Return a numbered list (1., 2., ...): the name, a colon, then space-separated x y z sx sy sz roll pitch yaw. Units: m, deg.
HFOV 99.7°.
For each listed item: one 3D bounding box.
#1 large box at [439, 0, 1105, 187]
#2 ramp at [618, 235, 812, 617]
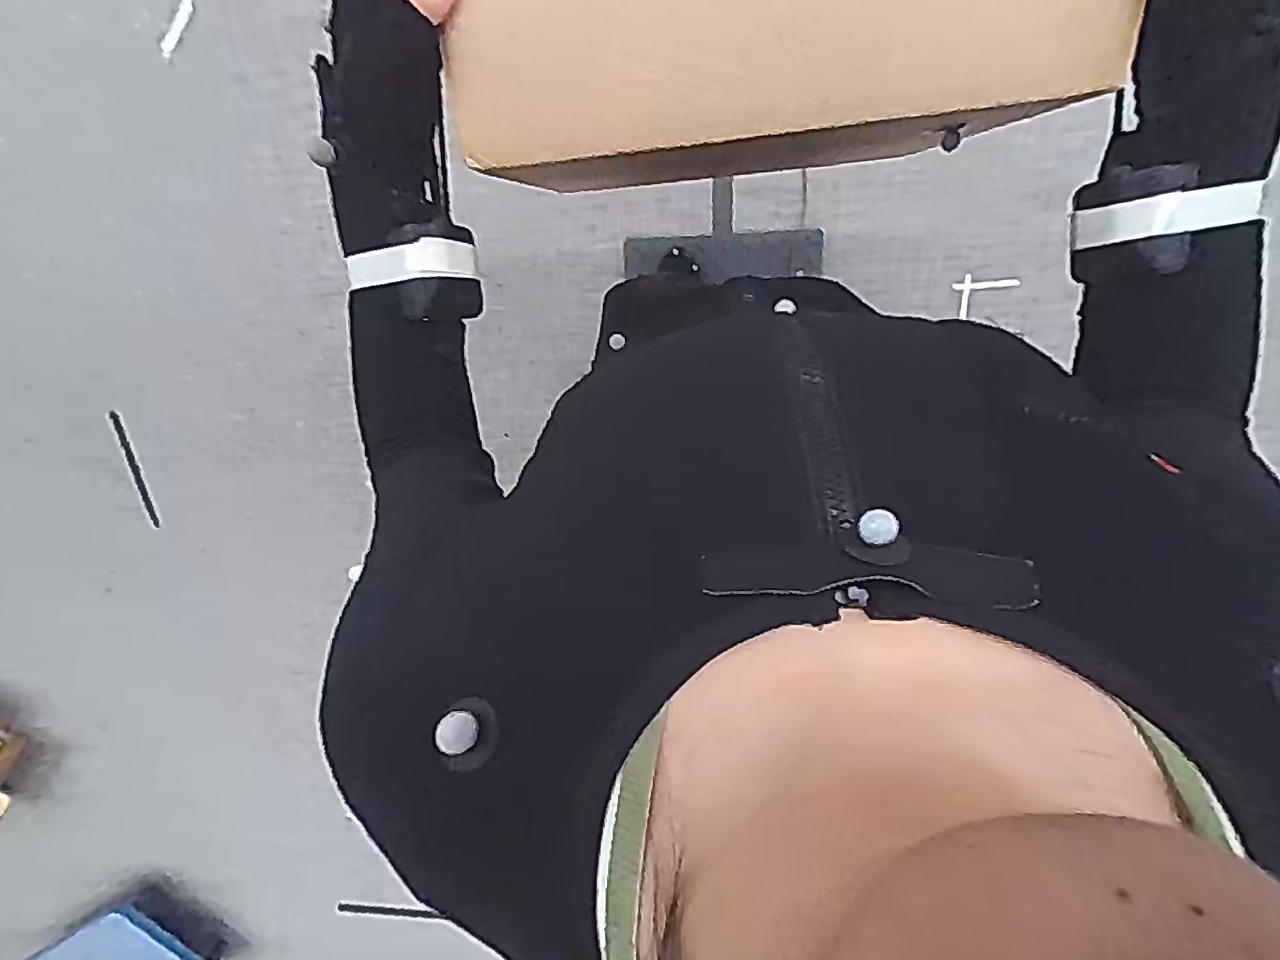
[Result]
1. large box: 0.075 -0.429 0.421 0.408 0.320 0.320 -4 115 5
2. ramp: 0.196 -0.113 1.436 0.509 0.206 0.991 -2 109 6
